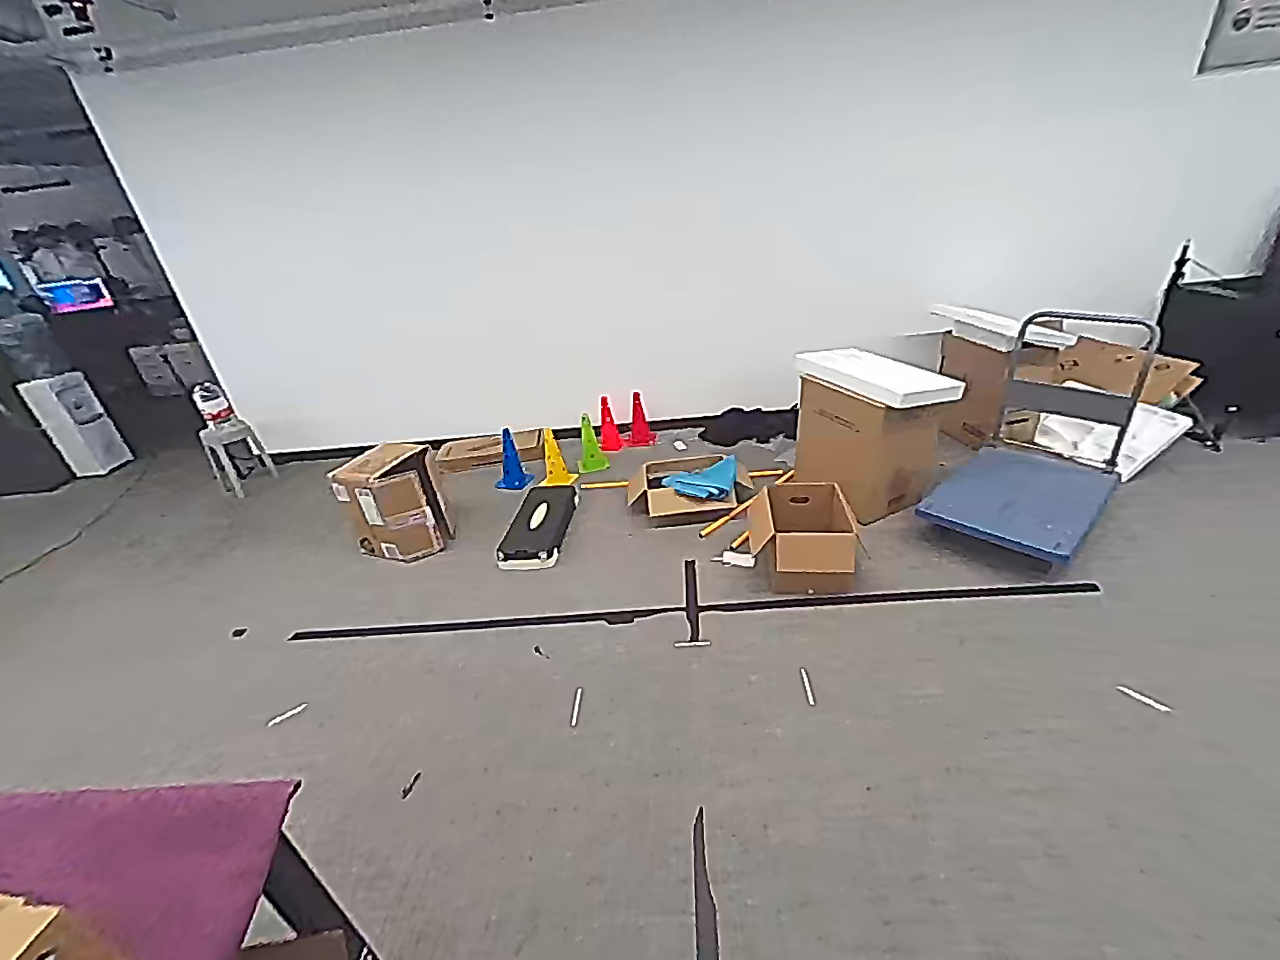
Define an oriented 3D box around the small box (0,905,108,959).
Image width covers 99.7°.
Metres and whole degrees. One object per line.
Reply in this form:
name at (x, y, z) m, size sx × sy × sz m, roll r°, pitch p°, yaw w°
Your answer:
small box at (-0.754, 0.615, 0.602) m, size 0.168 × 0.176 × 0.179 m, roll -2°, pitch 28°, yaw 9°
